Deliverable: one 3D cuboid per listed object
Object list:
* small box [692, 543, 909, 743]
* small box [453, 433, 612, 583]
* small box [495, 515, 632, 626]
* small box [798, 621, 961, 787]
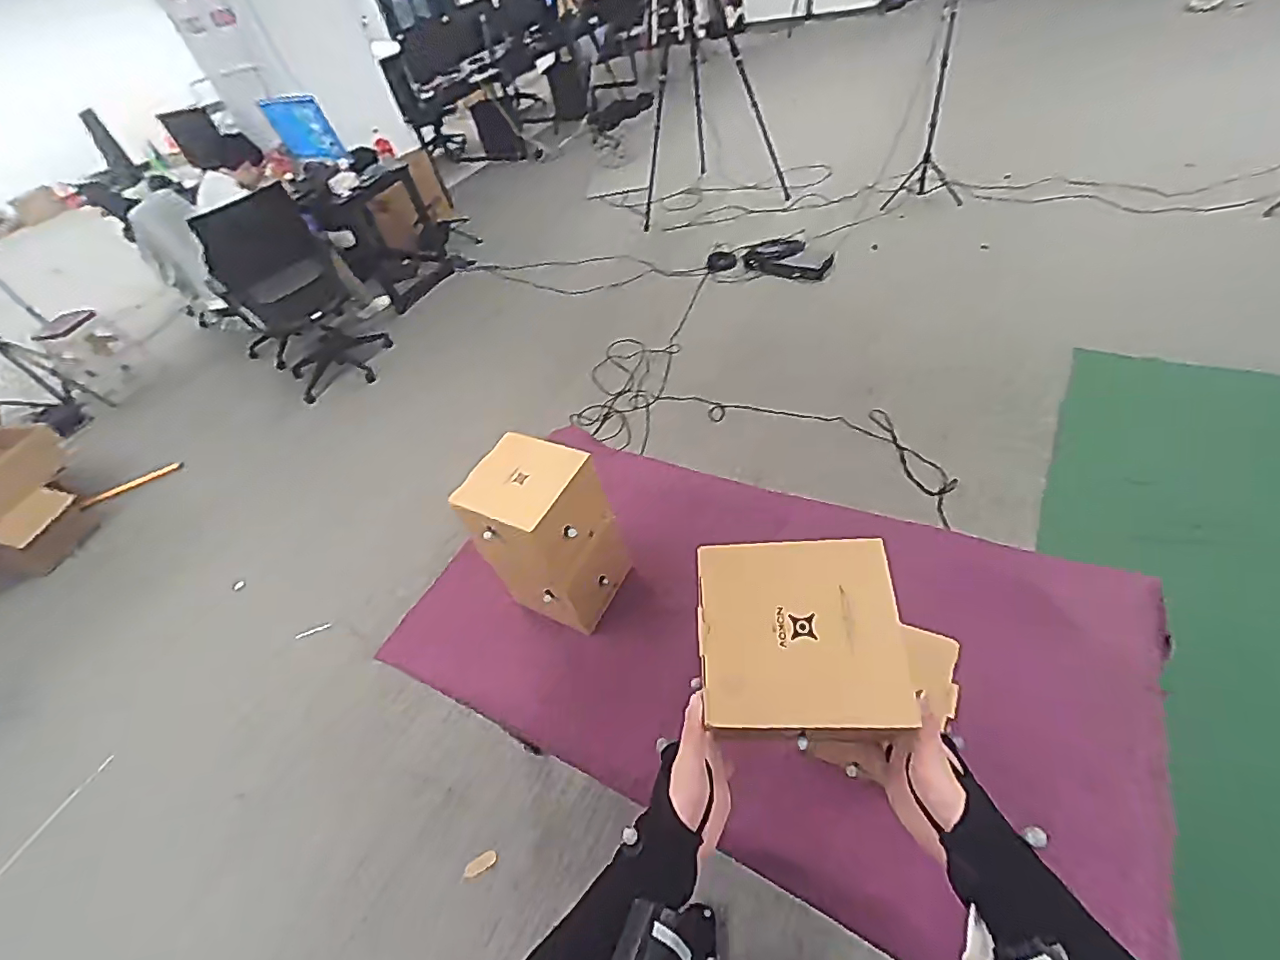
[{"bbox_3d":[0.148,0.174,0.555,0.179,0.176,0.168,-3,61,8],"label":"small box"},{"bbox_3d":[-0.169,0.051,0.912,0.179,0.176,0.168,15,55,27],"label":"small box"},{"bbox_3d":[-0.136,0.155,1.032,0.179,0.176,0.168,16,55,27],"label":"small box"},{"bbox_3d":[0.328,0.307,0.767,0.179,0.176,0.168,14,54,26],"label":"small box"}]
